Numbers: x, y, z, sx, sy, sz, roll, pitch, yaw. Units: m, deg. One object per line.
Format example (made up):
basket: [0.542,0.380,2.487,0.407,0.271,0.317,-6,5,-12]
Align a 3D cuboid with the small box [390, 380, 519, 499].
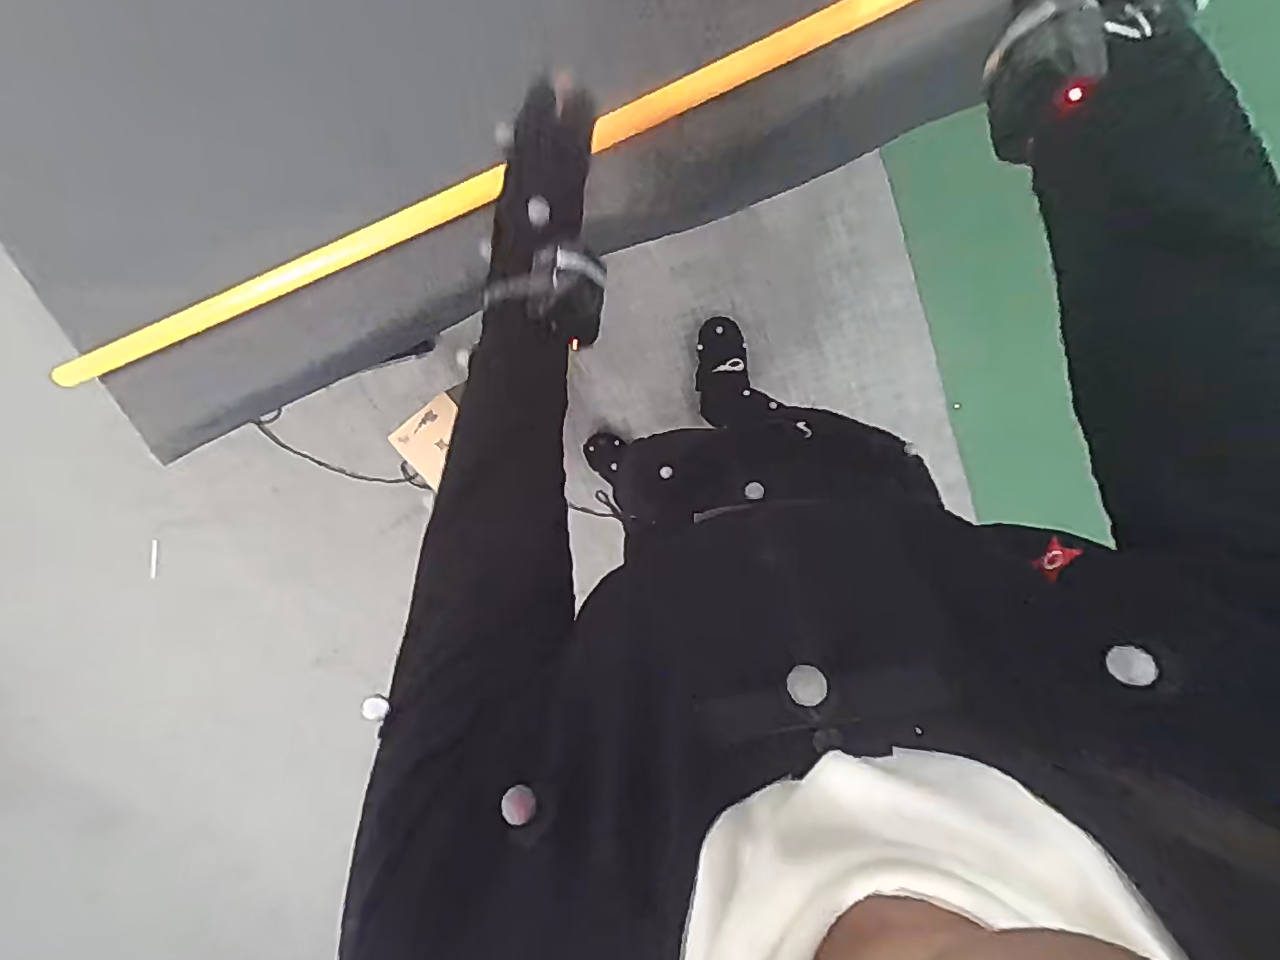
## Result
small box: [-0.392,-0.095,1.180,0.168,0.176,0.179,-36,103,17]
